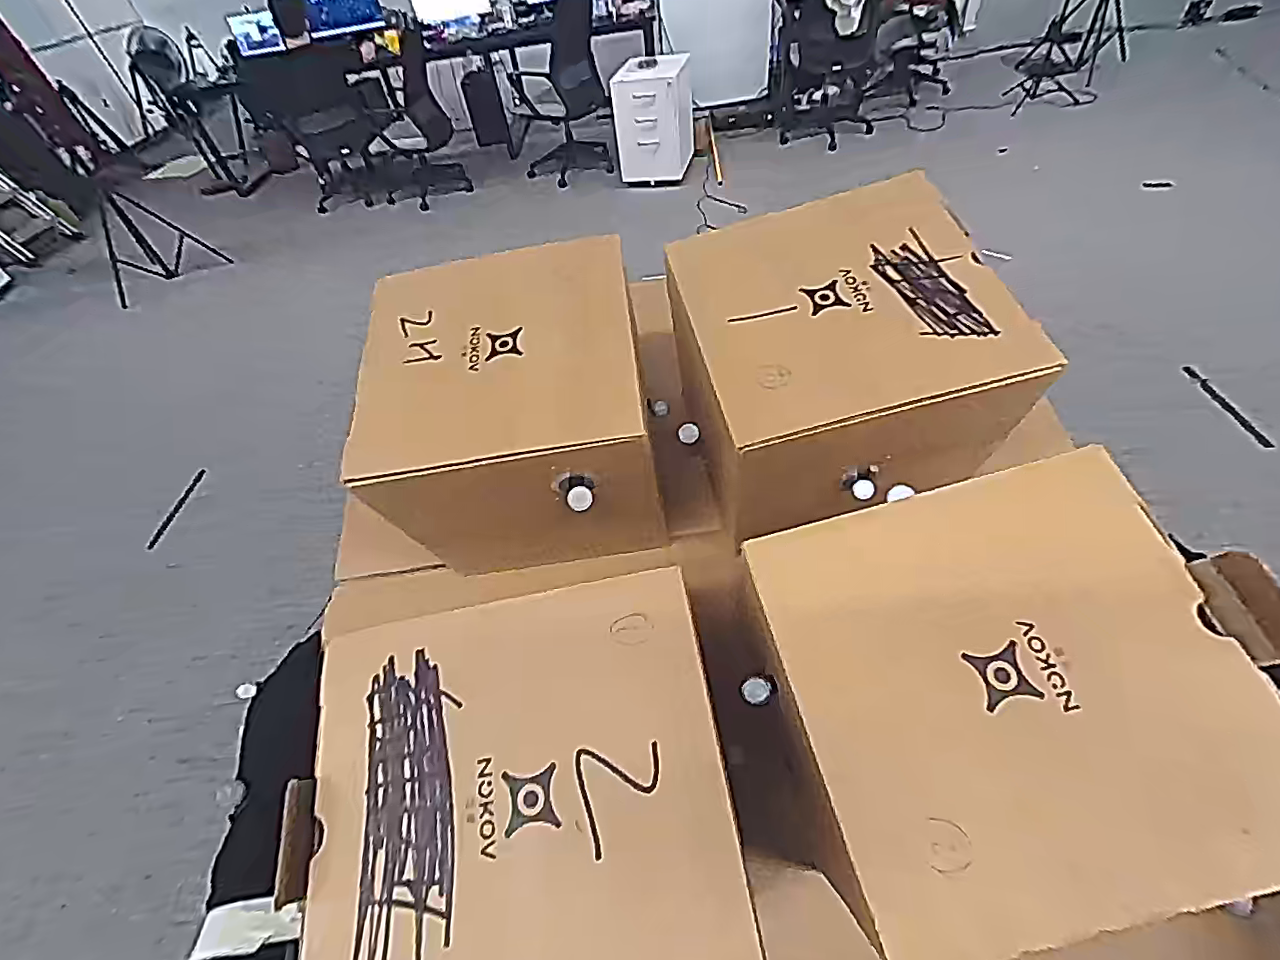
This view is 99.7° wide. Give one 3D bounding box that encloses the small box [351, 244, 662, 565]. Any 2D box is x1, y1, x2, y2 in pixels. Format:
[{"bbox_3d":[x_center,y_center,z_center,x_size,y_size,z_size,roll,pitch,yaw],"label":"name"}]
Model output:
[{"bbox_3d":[-0.078,-0.045,0.415,0.179,0.176,0.168,-8,61,5],"label":"small box"}]
